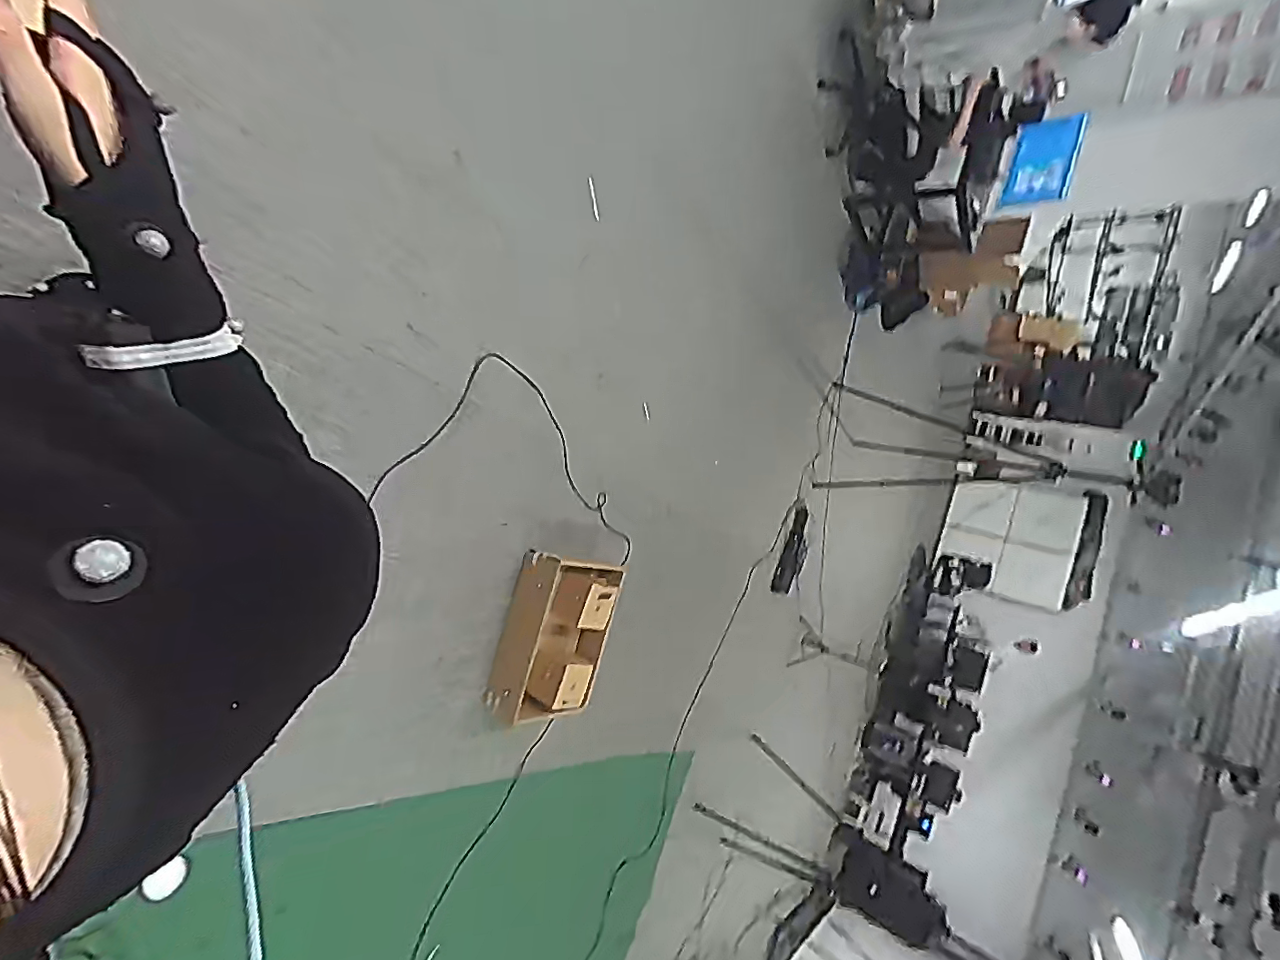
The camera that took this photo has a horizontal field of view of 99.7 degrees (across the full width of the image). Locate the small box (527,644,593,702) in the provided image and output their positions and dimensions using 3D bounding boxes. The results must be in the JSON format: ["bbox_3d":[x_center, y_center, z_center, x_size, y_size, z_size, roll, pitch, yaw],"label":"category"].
[{"bbox_3d":[-0.323,0.764,2.156,0.168,0.176,0.179,25,81,-51],"label":"small box"}]
